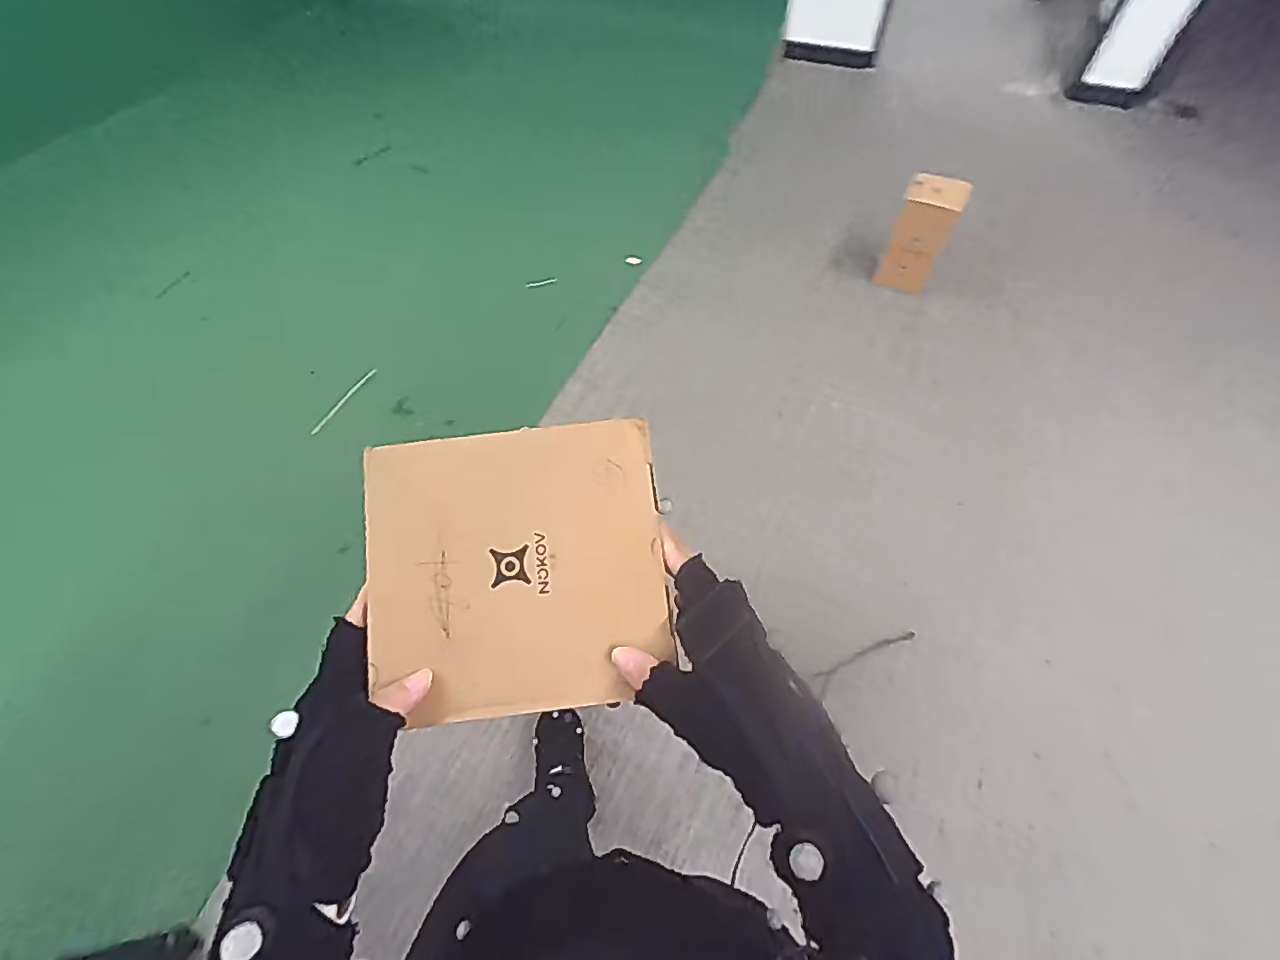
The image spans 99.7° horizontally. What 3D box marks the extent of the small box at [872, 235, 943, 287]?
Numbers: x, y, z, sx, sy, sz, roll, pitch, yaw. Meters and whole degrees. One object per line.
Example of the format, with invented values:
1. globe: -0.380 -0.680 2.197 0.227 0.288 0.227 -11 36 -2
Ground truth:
1. small box: 0.966 -0.821 1.941 0.179 0.176 0.168 26 63 18

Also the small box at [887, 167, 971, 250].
1. small box: 0.956 -0.899 1.800 0.179 0.176 0.168 24 64 16

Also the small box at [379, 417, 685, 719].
1. small box: -0.068 0.065 0.403 0.179 0.176 0.168 -7 77 0
